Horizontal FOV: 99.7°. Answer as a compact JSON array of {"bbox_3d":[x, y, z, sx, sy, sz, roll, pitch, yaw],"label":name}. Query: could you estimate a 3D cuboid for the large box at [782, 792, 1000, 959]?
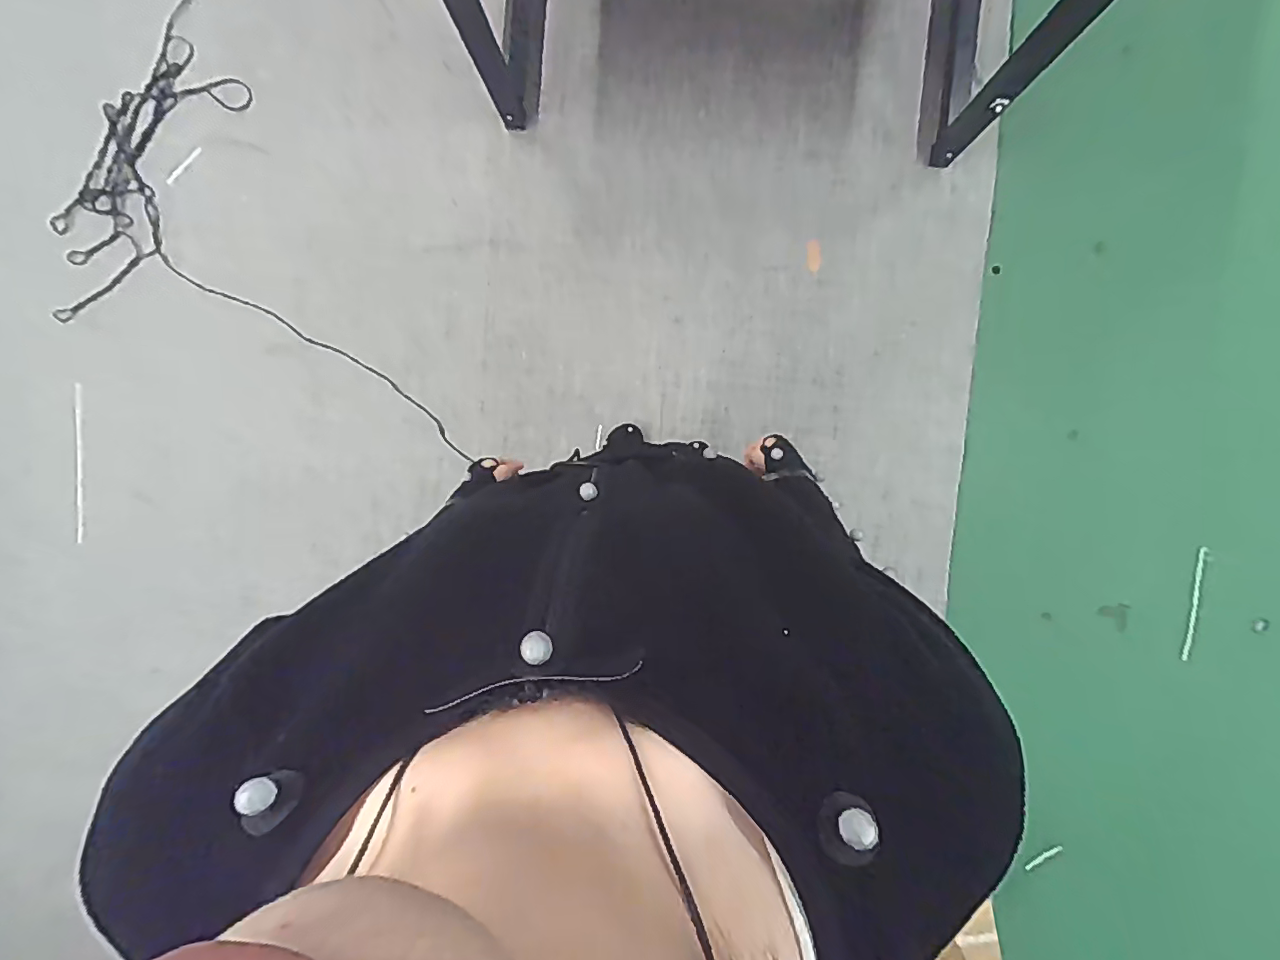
[{"bbox_3d":[0.622,1.068,1.391,0.408,0.320,0.320,-10,93,1],"label":"large box"}]
